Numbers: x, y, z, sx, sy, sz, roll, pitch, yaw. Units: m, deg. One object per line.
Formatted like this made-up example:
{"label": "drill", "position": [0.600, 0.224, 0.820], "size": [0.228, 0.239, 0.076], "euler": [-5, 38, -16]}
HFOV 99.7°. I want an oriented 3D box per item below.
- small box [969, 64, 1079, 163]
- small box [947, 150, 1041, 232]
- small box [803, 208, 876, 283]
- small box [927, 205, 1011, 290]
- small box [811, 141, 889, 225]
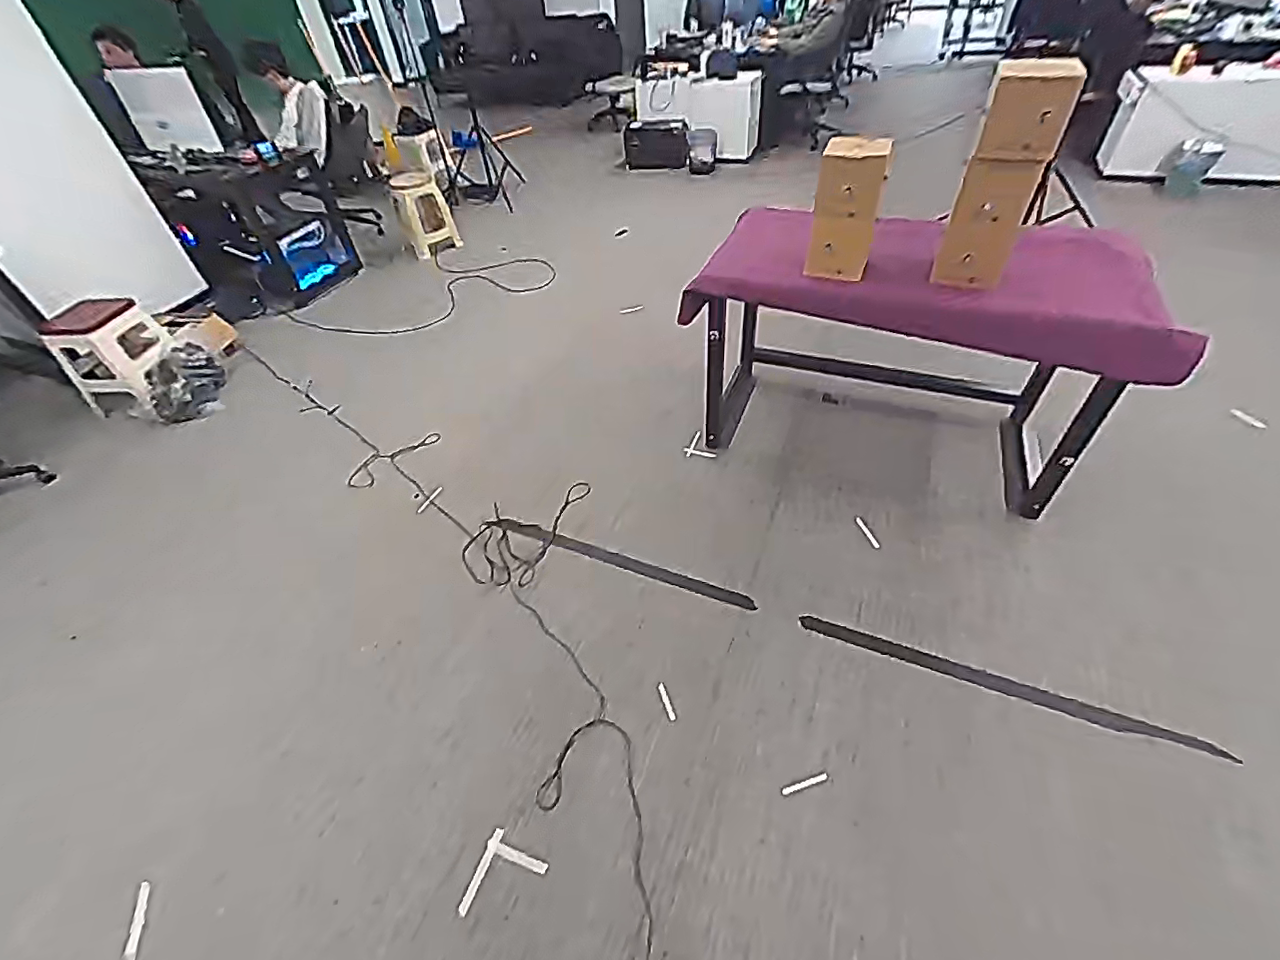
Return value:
{"label": "small box", "position": [0.911, -0.878, 1.299], "size": [0.168, 0.176, 0.179], "euler": [14, 48, 18]}
{"label": "small box", "position": [0.930, -0.779, 1.428], "size": [0.168, 0.176, 0.179], "euler": [16, 49, 21]}
{"label": "small box", "position": [0.595, -0.711, 1.627], "size": [0.168, 0.176, 0.179], "euler": [15, 47, 19]}
{"label": "small box", "position": [0.937, -0.662, 1.543], "size": [0.168, 0.176, 0.179], "euler": [17, 49, 20]}
{"label": "small box", "position": [0.585, -0.832, 1.517], "size": [0.168, 0.176, 0.179], "euler": [13, 47, 17]}
